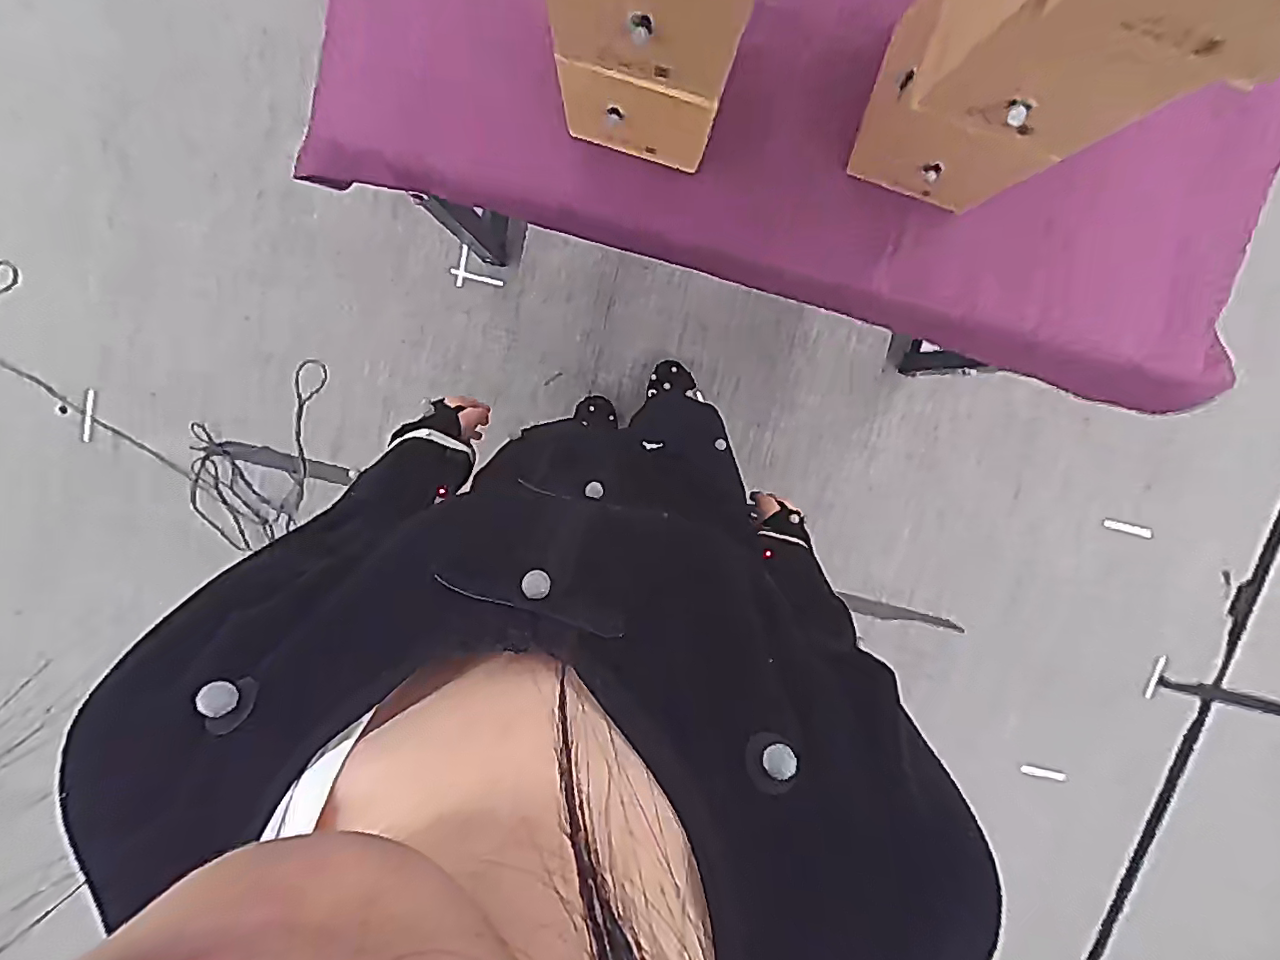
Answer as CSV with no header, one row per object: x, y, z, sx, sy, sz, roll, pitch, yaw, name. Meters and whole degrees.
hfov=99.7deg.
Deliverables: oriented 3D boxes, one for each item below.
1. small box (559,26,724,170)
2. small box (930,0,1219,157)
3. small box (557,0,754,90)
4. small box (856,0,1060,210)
0.019,-0.478,0.594,0.168,0.176,0.179,15,97,-5,small box
0.382,-0.414,0.450,0.168,0.176,0.179,17,99,-4,small box
0.026,-0.460,0.431,0.168,0.176,0.179,13,98,-4,small box
0.372,-0.438,0.613,0.168,0.176,0.179,17,98,-5,small box
